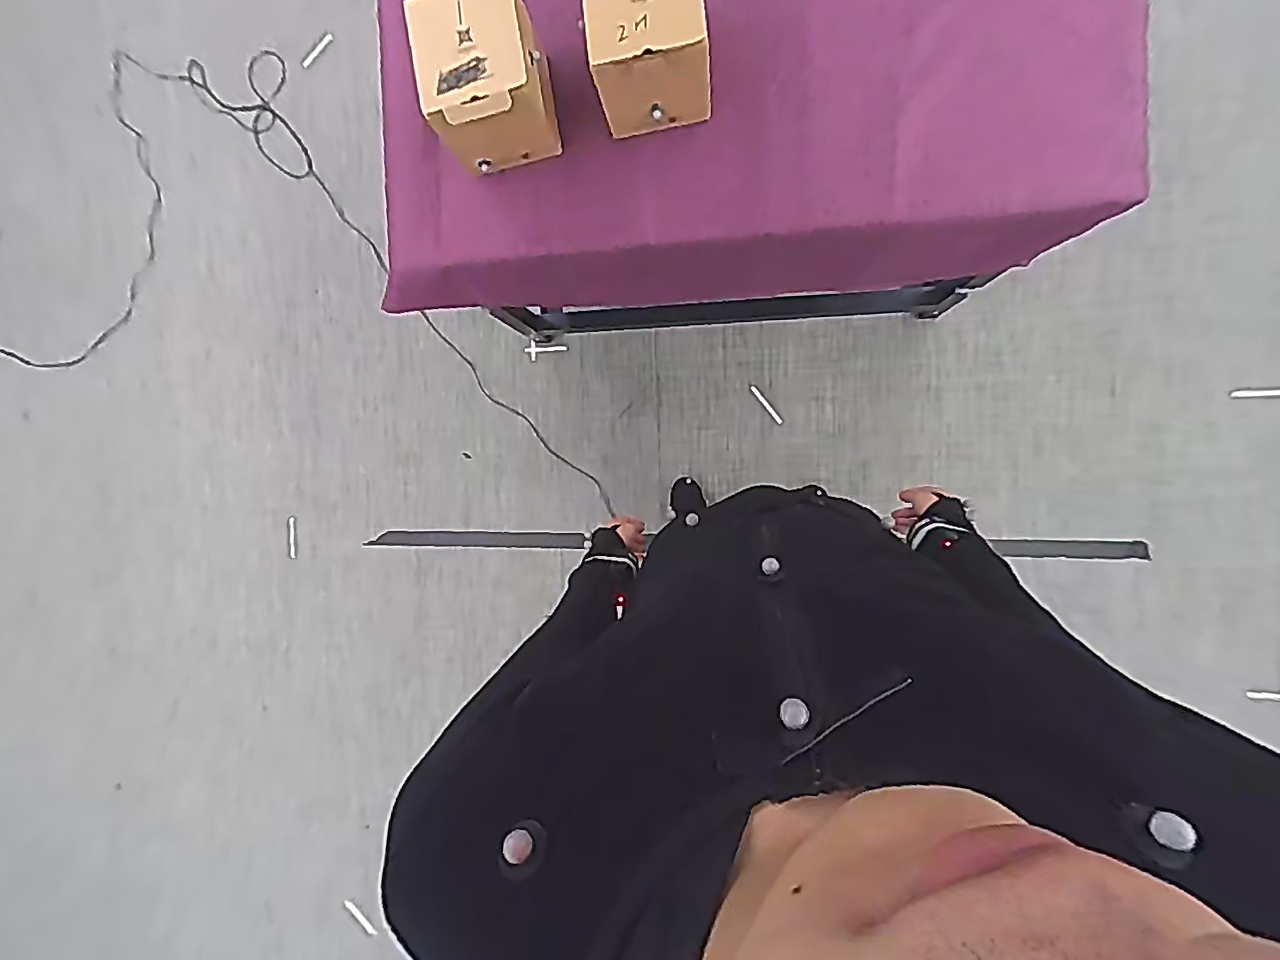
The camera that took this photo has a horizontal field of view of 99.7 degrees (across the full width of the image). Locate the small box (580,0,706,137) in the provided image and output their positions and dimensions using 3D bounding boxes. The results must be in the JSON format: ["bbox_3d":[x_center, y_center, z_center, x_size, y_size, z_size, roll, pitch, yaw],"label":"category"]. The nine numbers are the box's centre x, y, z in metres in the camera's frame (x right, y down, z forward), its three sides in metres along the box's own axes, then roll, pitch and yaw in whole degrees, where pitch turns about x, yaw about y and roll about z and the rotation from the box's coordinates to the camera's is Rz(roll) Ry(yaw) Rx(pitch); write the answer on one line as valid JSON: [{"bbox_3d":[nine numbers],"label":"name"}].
[{"bbox_3d":[0.009,-0.665,0.816,0.168,0.176,0.179,-6,91,9],"label":"small box"}]

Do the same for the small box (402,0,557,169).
[{"bbox_3d":[-0.242,-0.625,0.854,0.168,0.176,0.179,-10,89,8],"label":"small box"}]
